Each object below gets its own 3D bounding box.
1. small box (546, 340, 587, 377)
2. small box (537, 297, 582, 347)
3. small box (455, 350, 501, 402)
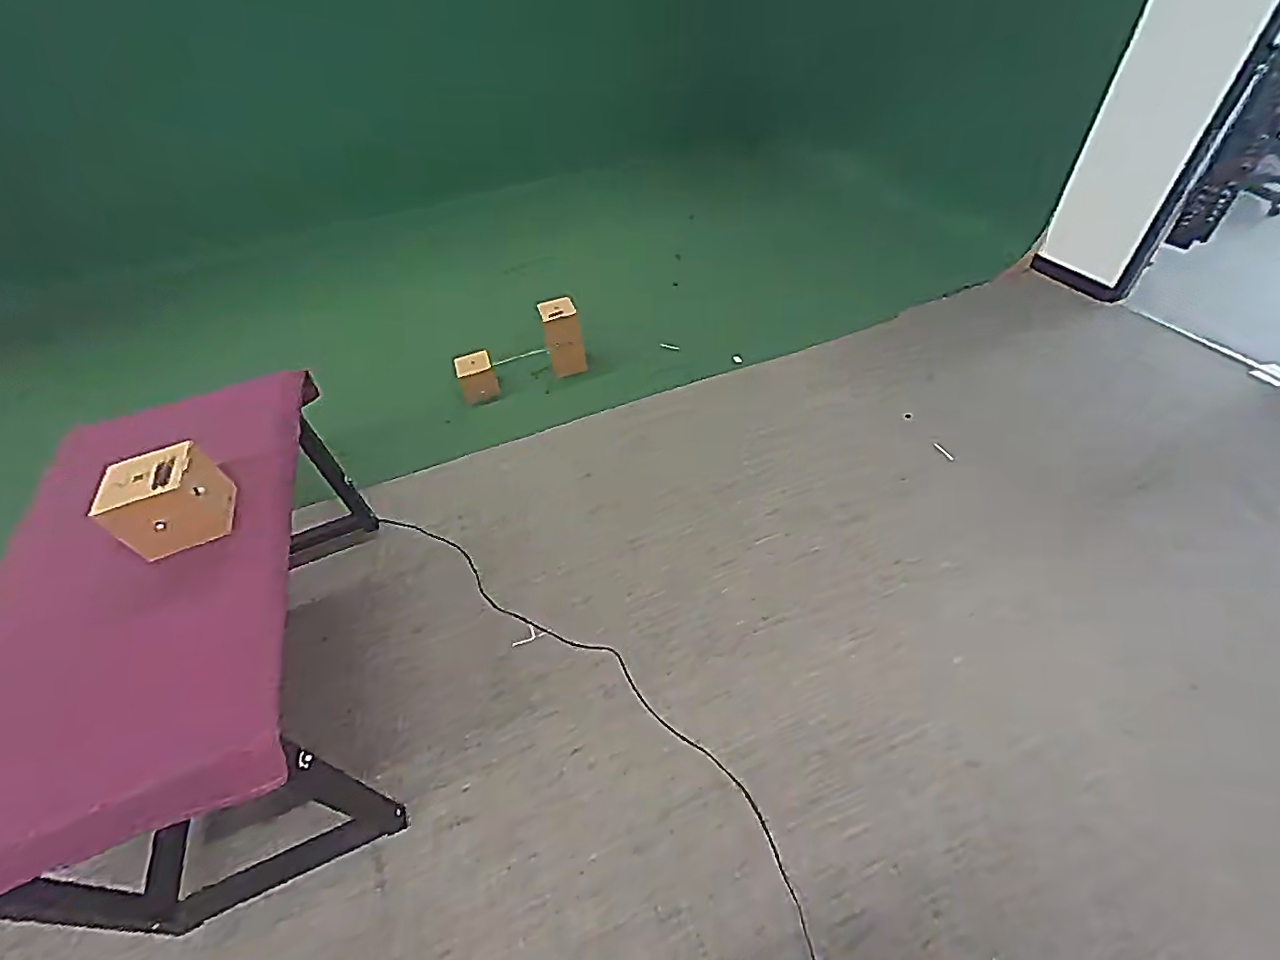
[{"bbox_3d":[-0.381,-0.660,2.781,0.168,0.176,0.179,-17,48,-10],"label":"small box"},{"bbox_3d":[-0.394,-0.771,2.660,0.168,0.176,0.179,-17,48,-10],"label":"small box"},{"bbox_3d":[-0.809,-0.519,2.701,0.168,0.176,0.179,-19,48,-9],"label":"small box"}]
